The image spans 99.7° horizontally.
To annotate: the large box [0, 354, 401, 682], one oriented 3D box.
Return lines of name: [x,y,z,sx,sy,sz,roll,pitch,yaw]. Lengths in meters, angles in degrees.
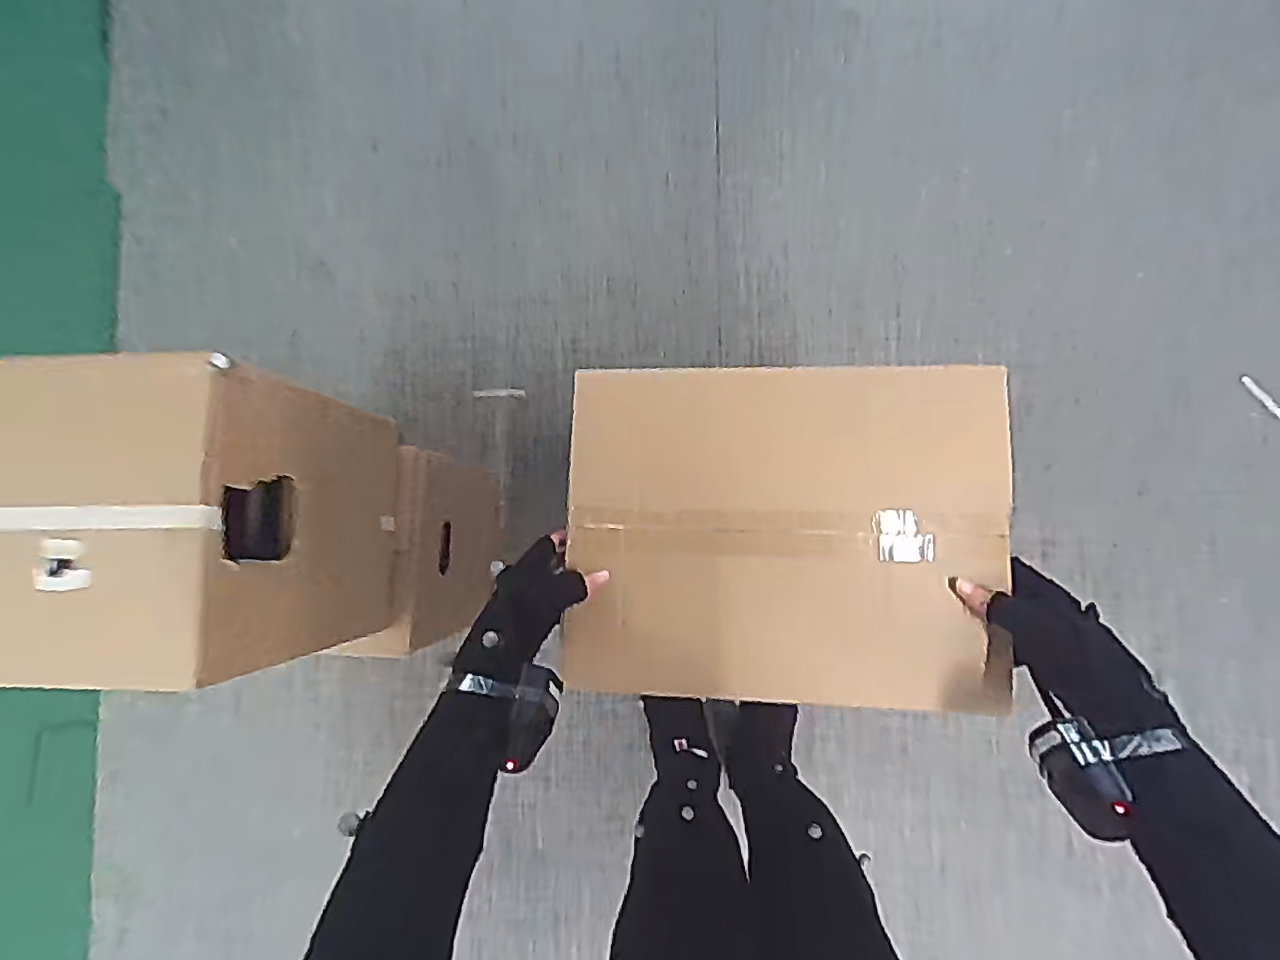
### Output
large box: [-0.570,0.051,0.665,0.408,0.320,0.320,0,84,4]
